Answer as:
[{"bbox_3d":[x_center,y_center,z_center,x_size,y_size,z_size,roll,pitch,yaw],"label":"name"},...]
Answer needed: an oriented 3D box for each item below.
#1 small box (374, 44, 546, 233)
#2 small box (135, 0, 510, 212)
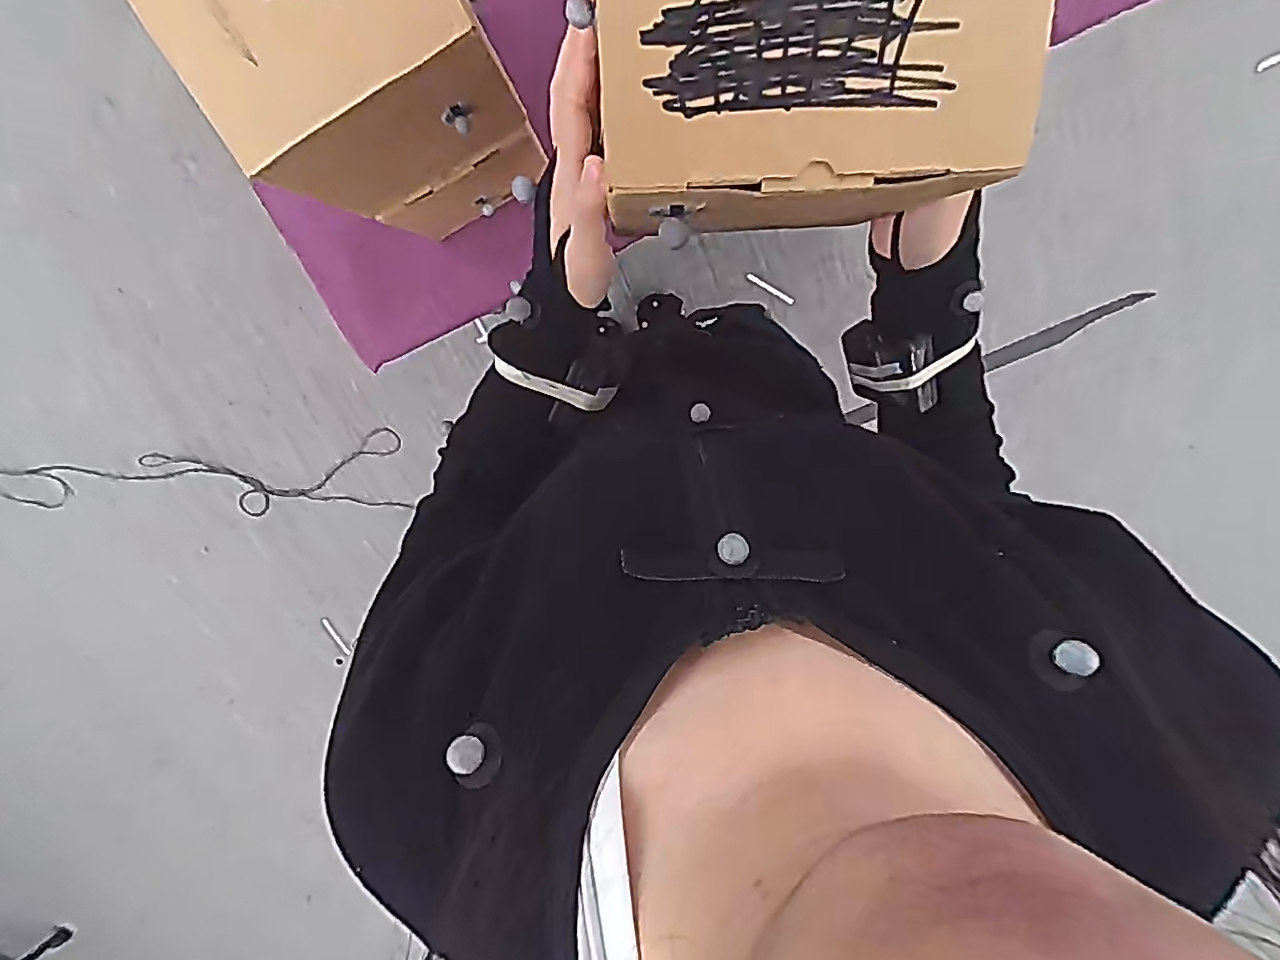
[{"bbox_3d":[-0.215,-0.377,0.546,0.168,0.176,0.179,-26,107,8],"label":"small box"},{"bbox_3d":[-0.213,-0.326,0.392,0.179,0.176,0.168,-27,105,8],"label":"small box"}]
